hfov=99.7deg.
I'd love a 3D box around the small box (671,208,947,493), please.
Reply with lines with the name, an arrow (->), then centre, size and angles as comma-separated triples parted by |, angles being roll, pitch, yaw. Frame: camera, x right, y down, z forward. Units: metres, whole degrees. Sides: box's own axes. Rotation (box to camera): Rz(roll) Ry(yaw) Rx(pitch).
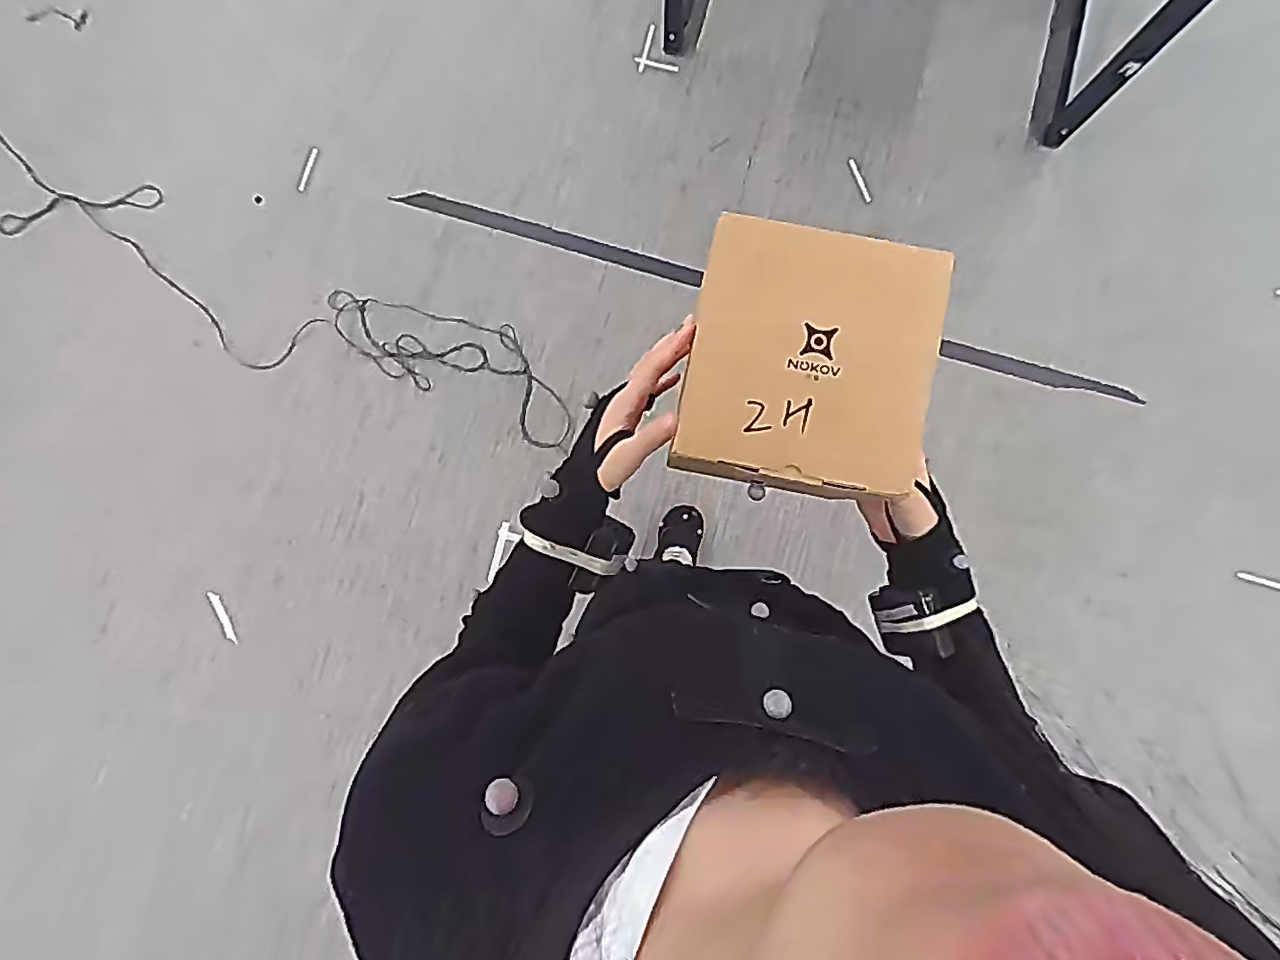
small box -> 0.121, -0.090, 0.457 | 0.168, 0.176, 0.179 | 11, 89, 2
